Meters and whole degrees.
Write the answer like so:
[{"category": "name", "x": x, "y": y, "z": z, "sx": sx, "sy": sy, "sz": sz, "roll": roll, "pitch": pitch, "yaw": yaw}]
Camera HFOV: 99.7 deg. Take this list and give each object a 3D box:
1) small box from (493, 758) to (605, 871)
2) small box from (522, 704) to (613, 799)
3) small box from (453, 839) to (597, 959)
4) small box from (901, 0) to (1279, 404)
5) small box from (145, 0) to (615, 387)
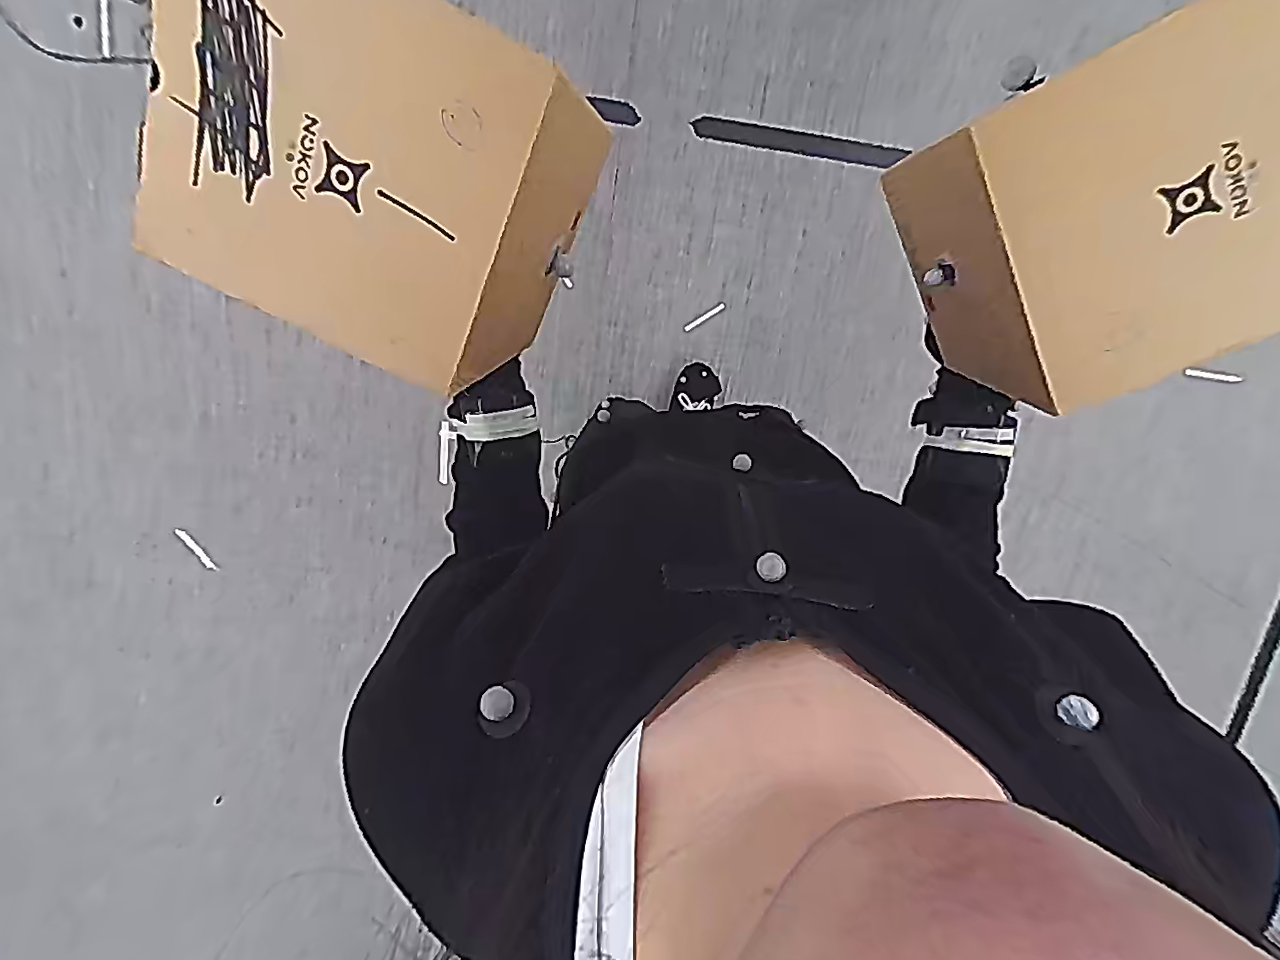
[{"category": "small box", "x": -0.154, "y": 0.601, "z": 0.901, "sx": 0.168, "sy": 0.176, "sz": 0.179, "roll": 11, "pitch": 102, "yaw": -2}, {"category": "small box", "x": -0.150, "y": 0.572, "z": 1.061, "sx": 0.168, "sy": 0.176, "sz": 0.179, "roll": 13, "pitch": 101, "yaw": -2}, {"category": "small box", "x": -0.156, "y": 0.639, "z": 0.743, "sx": 0.168, "sy": 0.176, "sz": 0.179, "roll": 10, "pitch": 103, "yaw": 0}, {"category": "small box", "x": 0.286, "y": -0.171, "z": 0.336, "sx": 0.179, "sy": 0.176, "sz": 0.168, "roll": -24, "pitch": 106, "yaw": 17}, {"category": "small box", "x": -0.132, "y": -0.182, "z": 0.326, "sx": 0.179, "sy": 0.176, "sz": 0.168, "roll": 26, "pitch": 114, "yaw": -7}]
